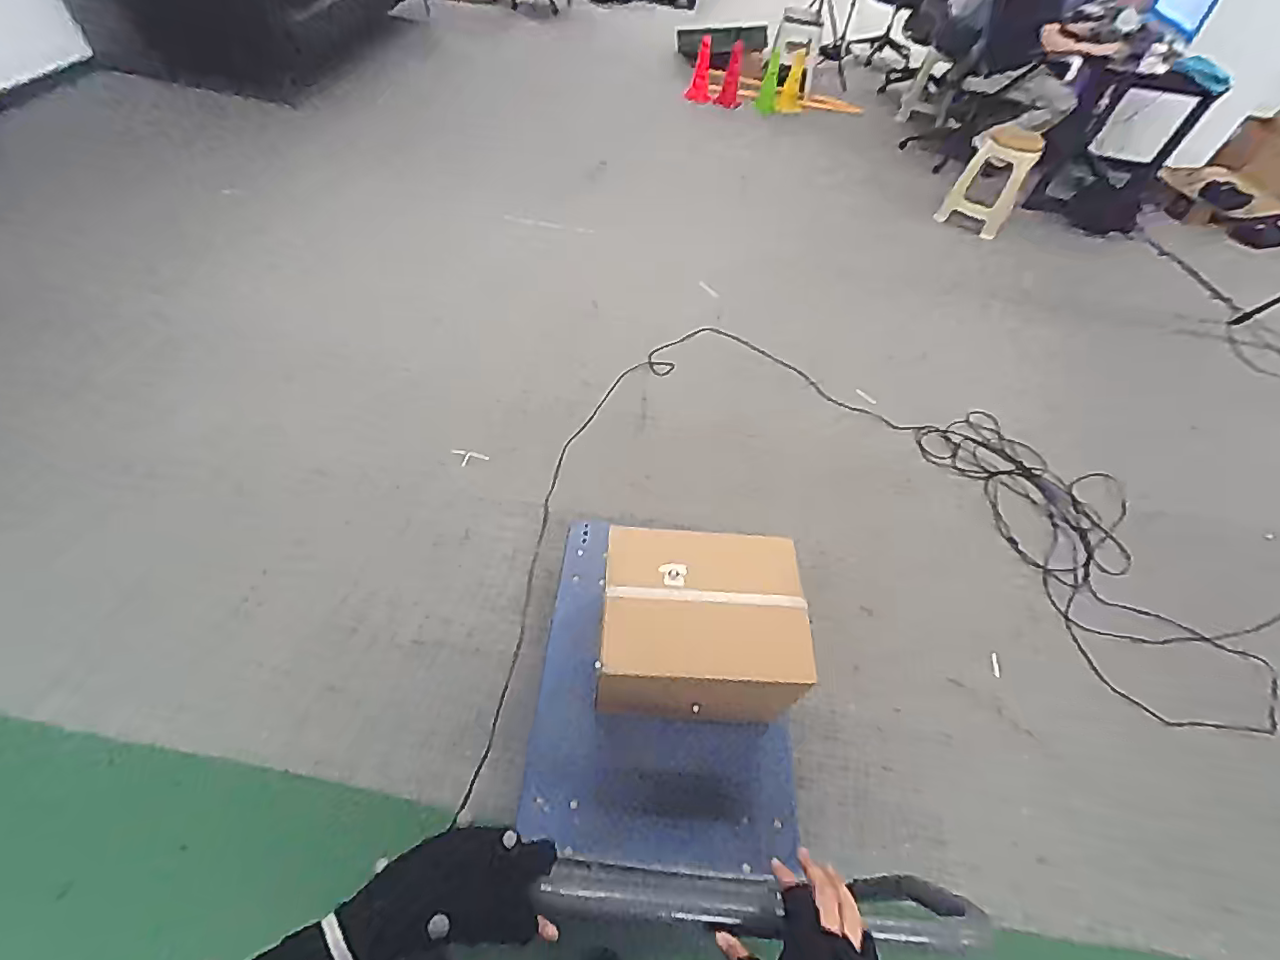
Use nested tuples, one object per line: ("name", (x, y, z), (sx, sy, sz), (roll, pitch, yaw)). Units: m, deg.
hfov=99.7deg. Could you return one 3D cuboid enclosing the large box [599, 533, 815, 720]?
("large box", (0.121, 0.334, 1.199), (0.408, 0.320, 0.320), (4, 53, -3))
